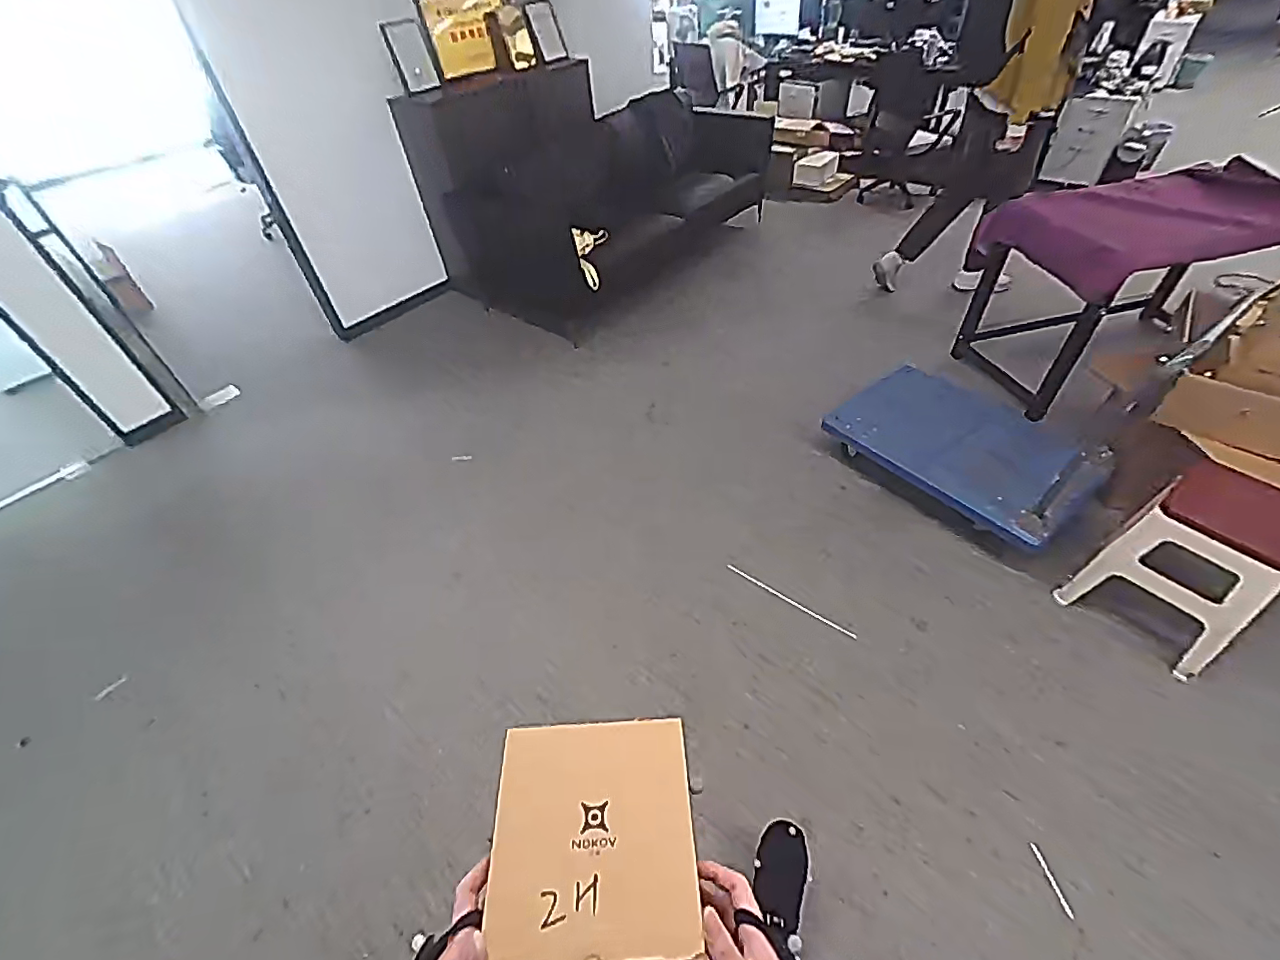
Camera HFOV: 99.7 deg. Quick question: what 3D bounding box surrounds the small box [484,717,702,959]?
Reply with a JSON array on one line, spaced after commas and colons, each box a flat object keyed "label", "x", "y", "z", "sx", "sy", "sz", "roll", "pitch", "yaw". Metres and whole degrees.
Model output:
[{"label": "small box", "x": -0.036, "y": 0.349, "z": 0.514, "sx": 0.168, "sy": 0.176, "sz": 0.179, "roll": -2, "pitch": 44, "yaw": -1}]
